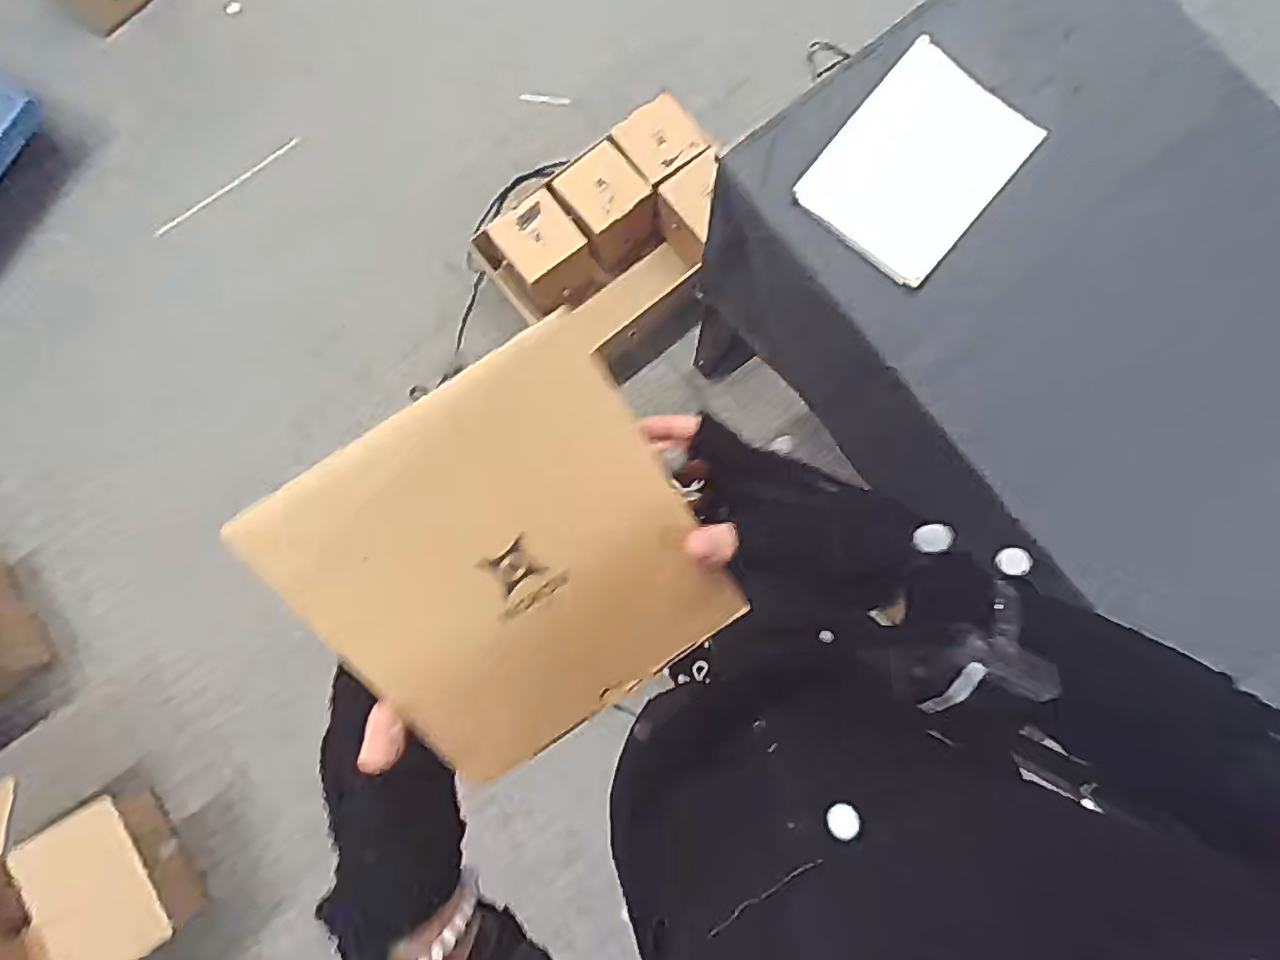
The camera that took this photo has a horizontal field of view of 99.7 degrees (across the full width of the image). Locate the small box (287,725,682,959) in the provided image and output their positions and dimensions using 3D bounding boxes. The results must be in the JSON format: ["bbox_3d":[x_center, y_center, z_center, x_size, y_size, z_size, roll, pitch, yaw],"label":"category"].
[{"bbox_3d":[-0.097,0.264,0.318,0.176,0.168,0.179,-39,53,36],"label":"small box"}]
